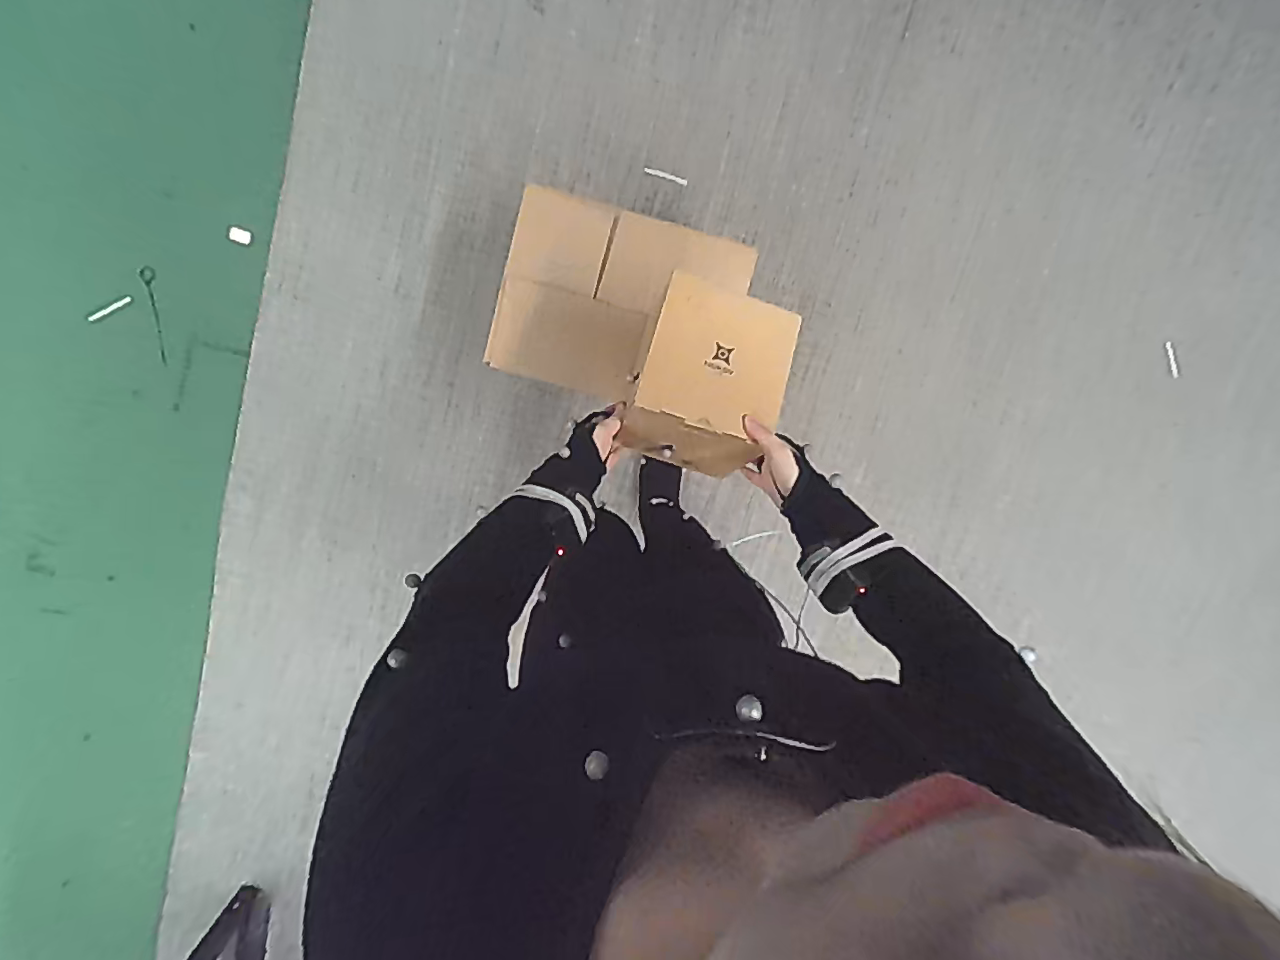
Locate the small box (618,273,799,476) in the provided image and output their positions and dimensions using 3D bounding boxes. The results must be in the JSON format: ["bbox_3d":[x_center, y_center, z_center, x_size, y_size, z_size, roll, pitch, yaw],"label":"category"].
[{"bbox_3d":[0.077,-0.122,0.694,0.168,0.176,0.179,18,77,-6],"label":"small box"}]
